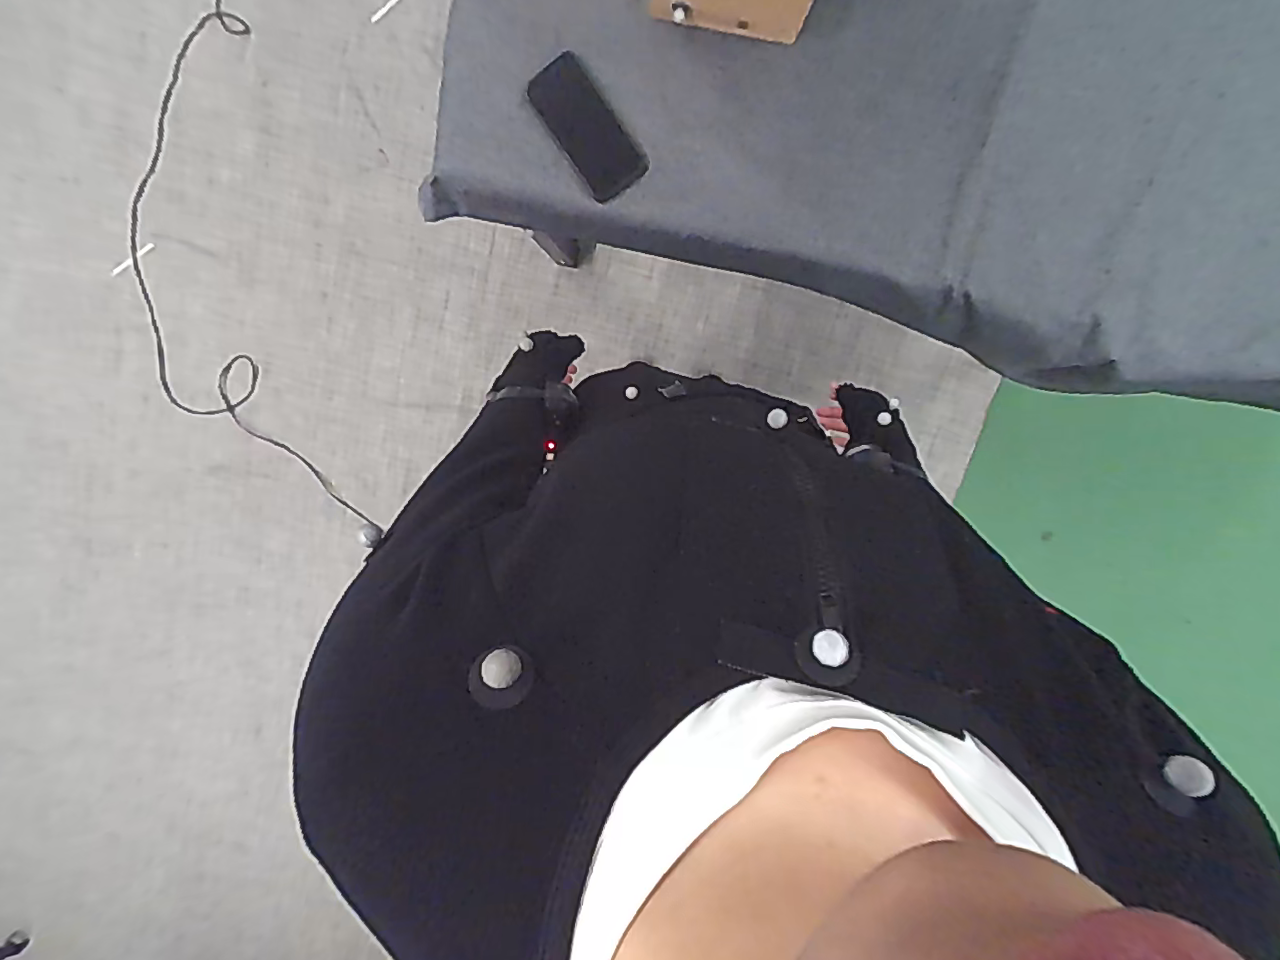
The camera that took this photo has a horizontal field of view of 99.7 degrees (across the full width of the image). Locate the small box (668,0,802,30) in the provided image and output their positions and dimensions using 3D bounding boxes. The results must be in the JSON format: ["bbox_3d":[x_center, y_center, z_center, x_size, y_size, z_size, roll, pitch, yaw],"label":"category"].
[{"bbox_3d":[0.104,-0.582,0.514,0.168,0.176,0.179,10,102,-2],"label":"small box"}]
